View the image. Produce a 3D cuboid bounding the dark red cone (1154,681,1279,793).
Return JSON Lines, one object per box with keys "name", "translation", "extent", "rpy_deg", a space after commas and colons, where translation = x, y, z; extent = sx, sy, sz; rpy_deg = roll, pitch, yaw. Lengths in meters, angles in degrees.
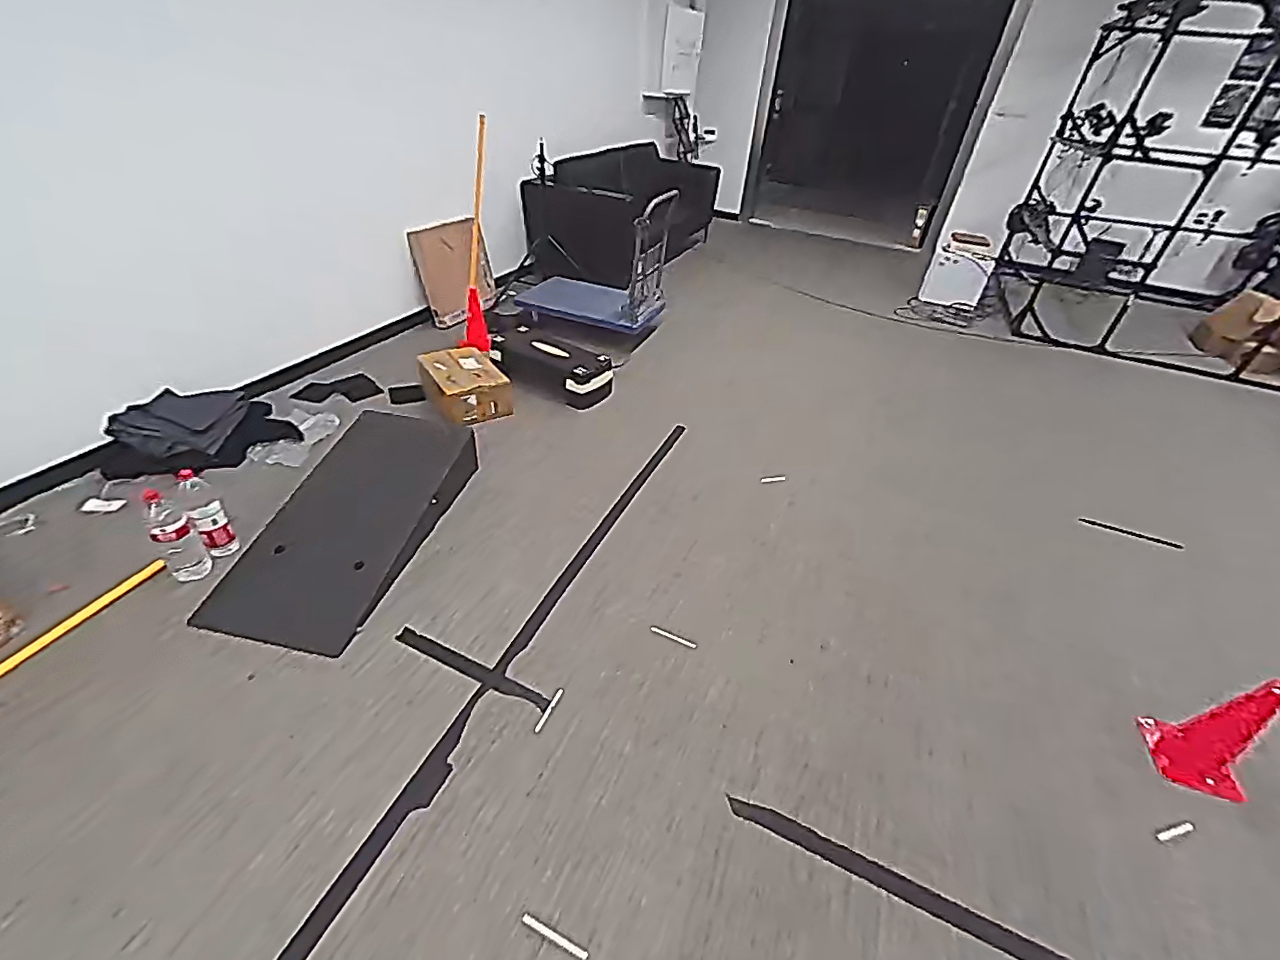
{"name": "dark red cone", "translation": [1.568, 0.611, 1.385], "extent": [0.202, 0.394, 0.201], "rpy_deg": [14, 39, 11]}
